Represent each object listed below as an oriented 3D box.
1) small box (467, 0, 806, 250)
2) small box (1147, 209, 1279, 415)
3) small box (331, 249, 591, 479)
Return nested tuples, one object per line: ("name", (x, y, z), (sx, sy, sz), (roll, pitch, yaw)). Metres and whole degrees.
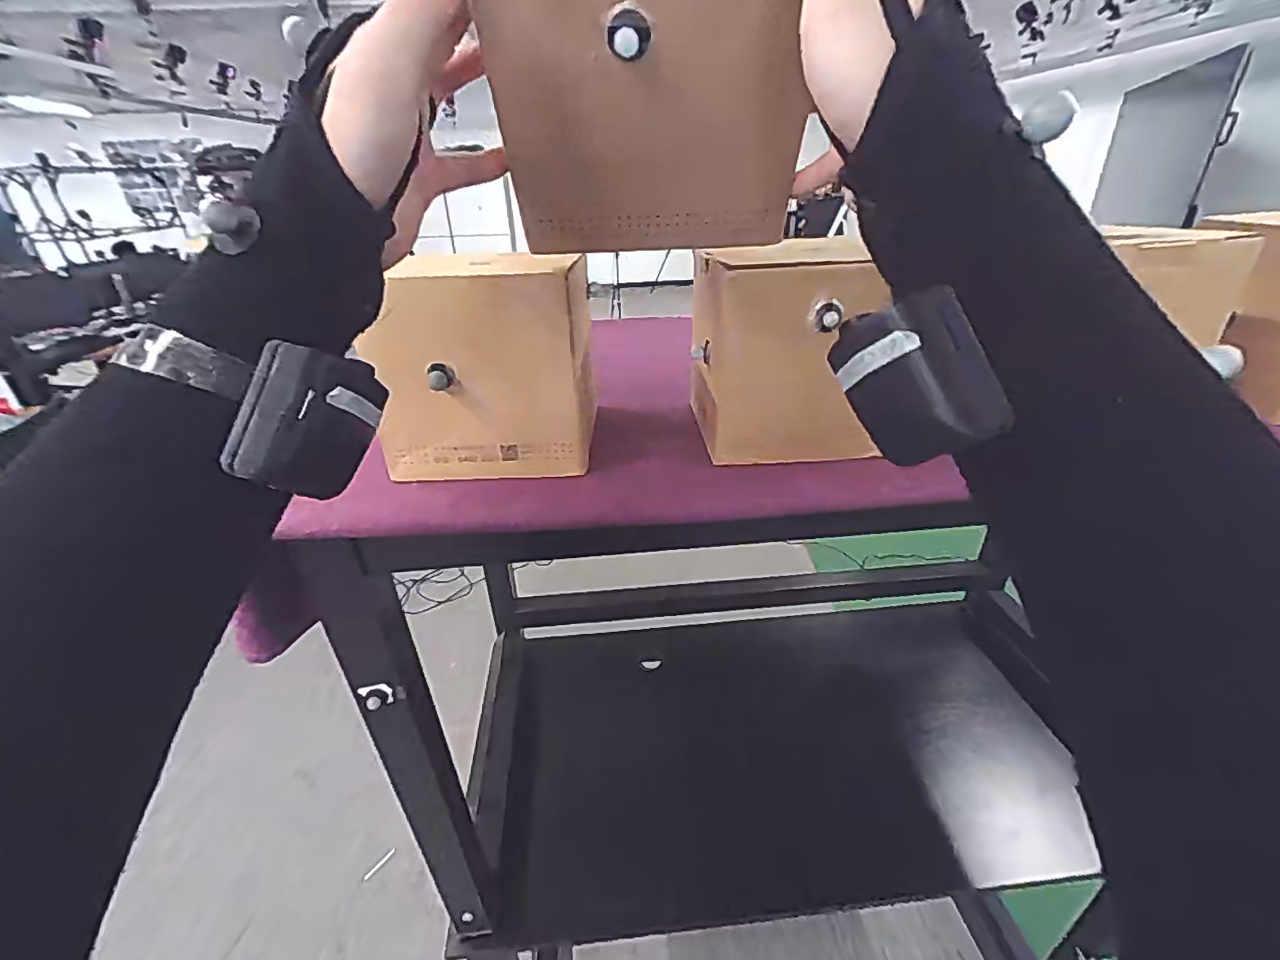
("small box", (0.000, -0.268, 0.348), (0.179, 0.176, 0.168), (-2, 59, 1))
("small box", (0.662, -0.169, 0.532), (0.179, 0.176, 0.168), (-3, 30, 1))
("small box", (-0.136, -0.107, 0.492), (0.168, 0.176, 0.179), (-2, 27, 0))
